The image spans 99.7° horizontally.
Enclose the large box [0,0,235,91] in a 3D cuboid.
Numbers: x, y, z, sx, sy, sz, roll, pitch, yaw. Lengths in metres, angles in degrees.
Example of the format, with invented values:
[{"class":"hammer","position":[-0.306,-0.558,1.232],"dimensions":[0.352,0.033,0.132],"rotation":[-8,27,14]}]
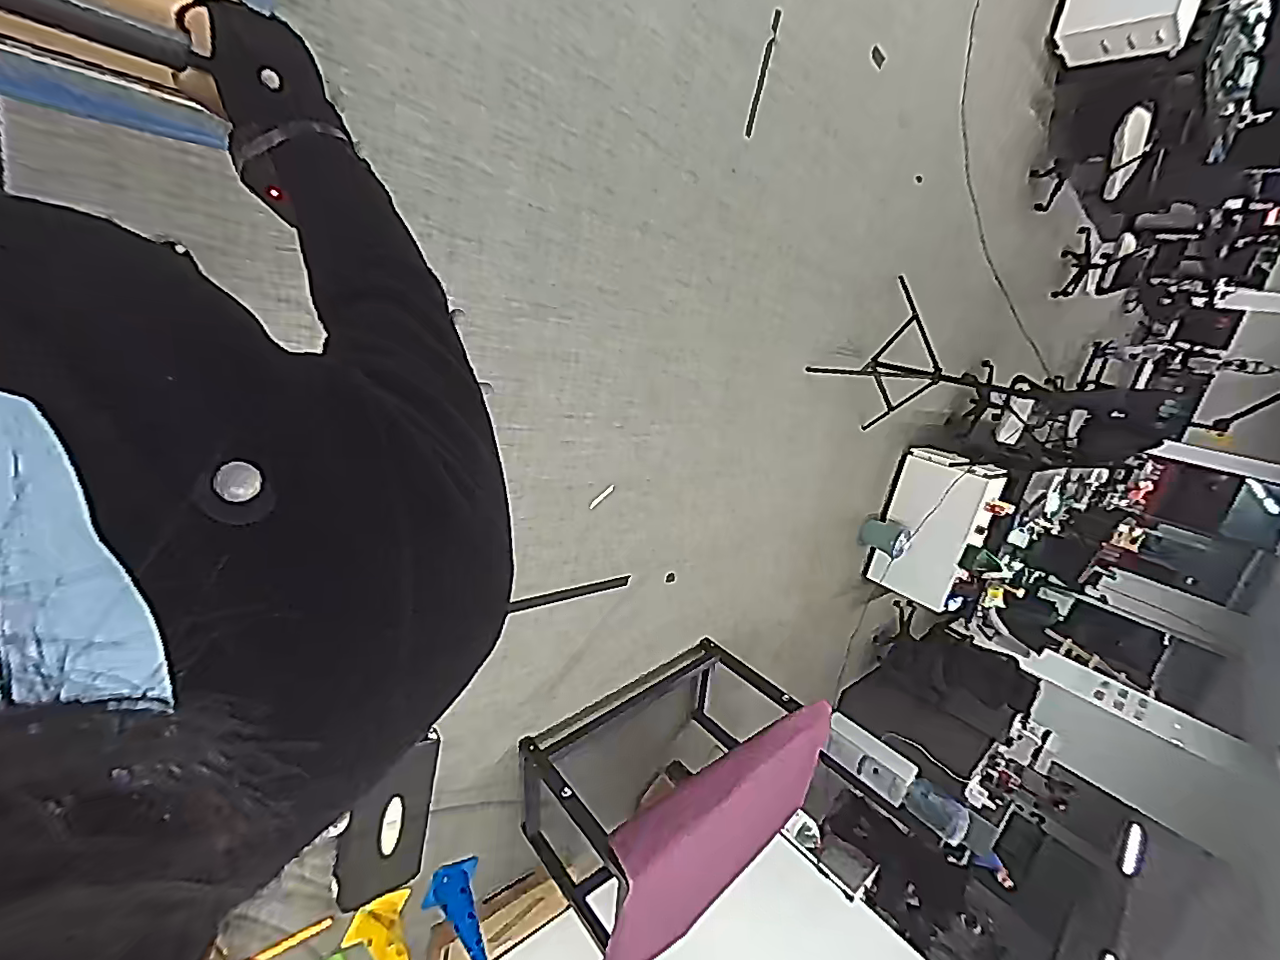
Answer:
[{"class":"large box","position":[-0.773,-0.745,0.656],"dimensions":[0.408,0.320,0.320],"rotation":[-6,114,-43]}]
